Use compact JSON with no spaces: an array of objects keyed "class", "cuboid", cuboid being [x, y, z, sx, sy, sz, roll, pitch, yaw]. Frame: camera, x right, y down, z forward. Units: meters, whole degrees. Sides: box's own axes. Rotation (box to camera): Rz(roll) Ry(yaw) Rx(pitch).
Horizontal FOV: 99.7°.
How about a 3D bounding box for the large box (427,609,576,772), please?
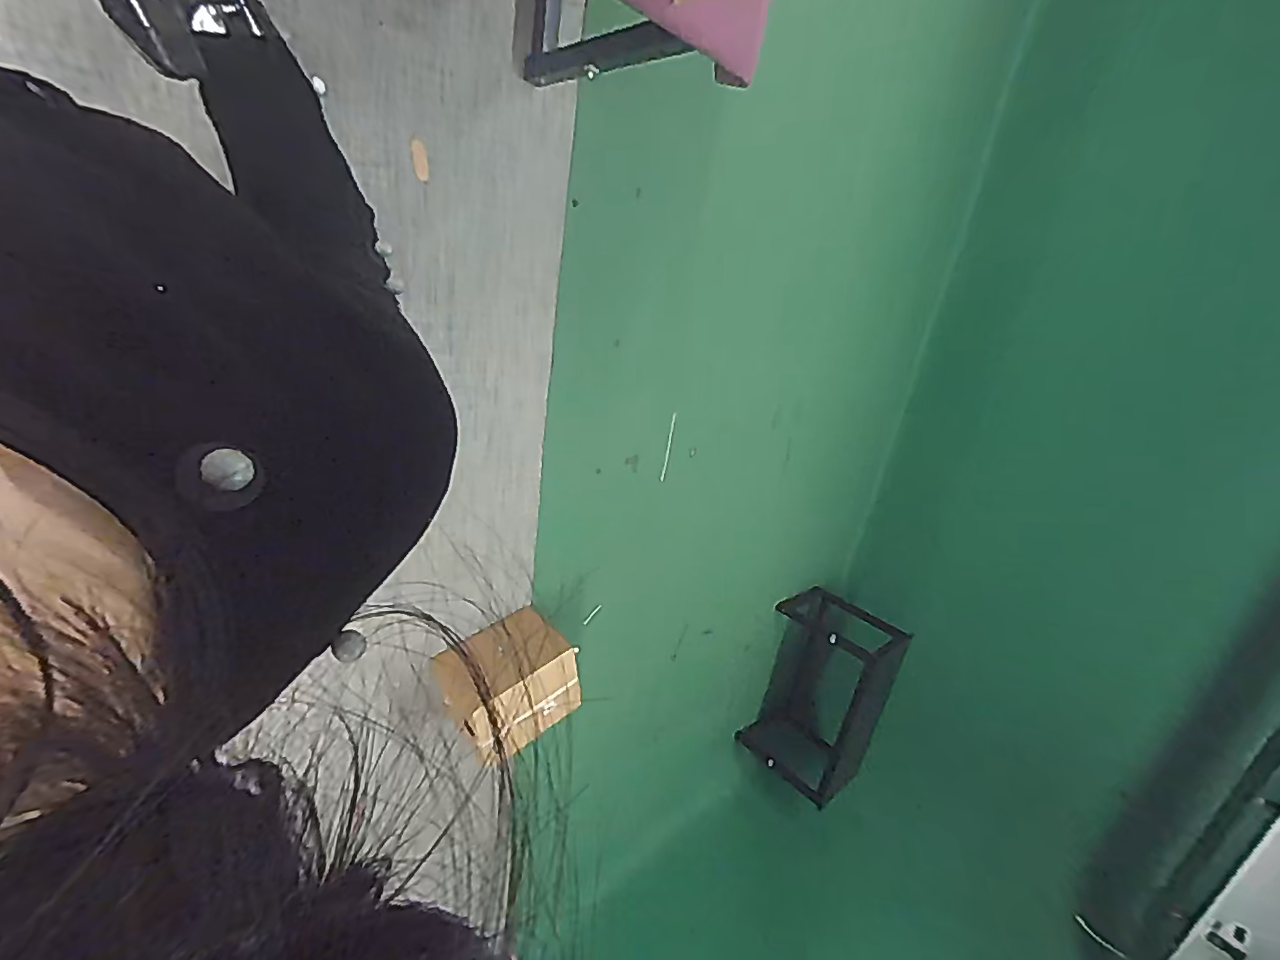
[{"class":"large box","cuboid":[-0.497,0.749,1.980,0.408,0.320,0.320,-26,128,-36]}]
